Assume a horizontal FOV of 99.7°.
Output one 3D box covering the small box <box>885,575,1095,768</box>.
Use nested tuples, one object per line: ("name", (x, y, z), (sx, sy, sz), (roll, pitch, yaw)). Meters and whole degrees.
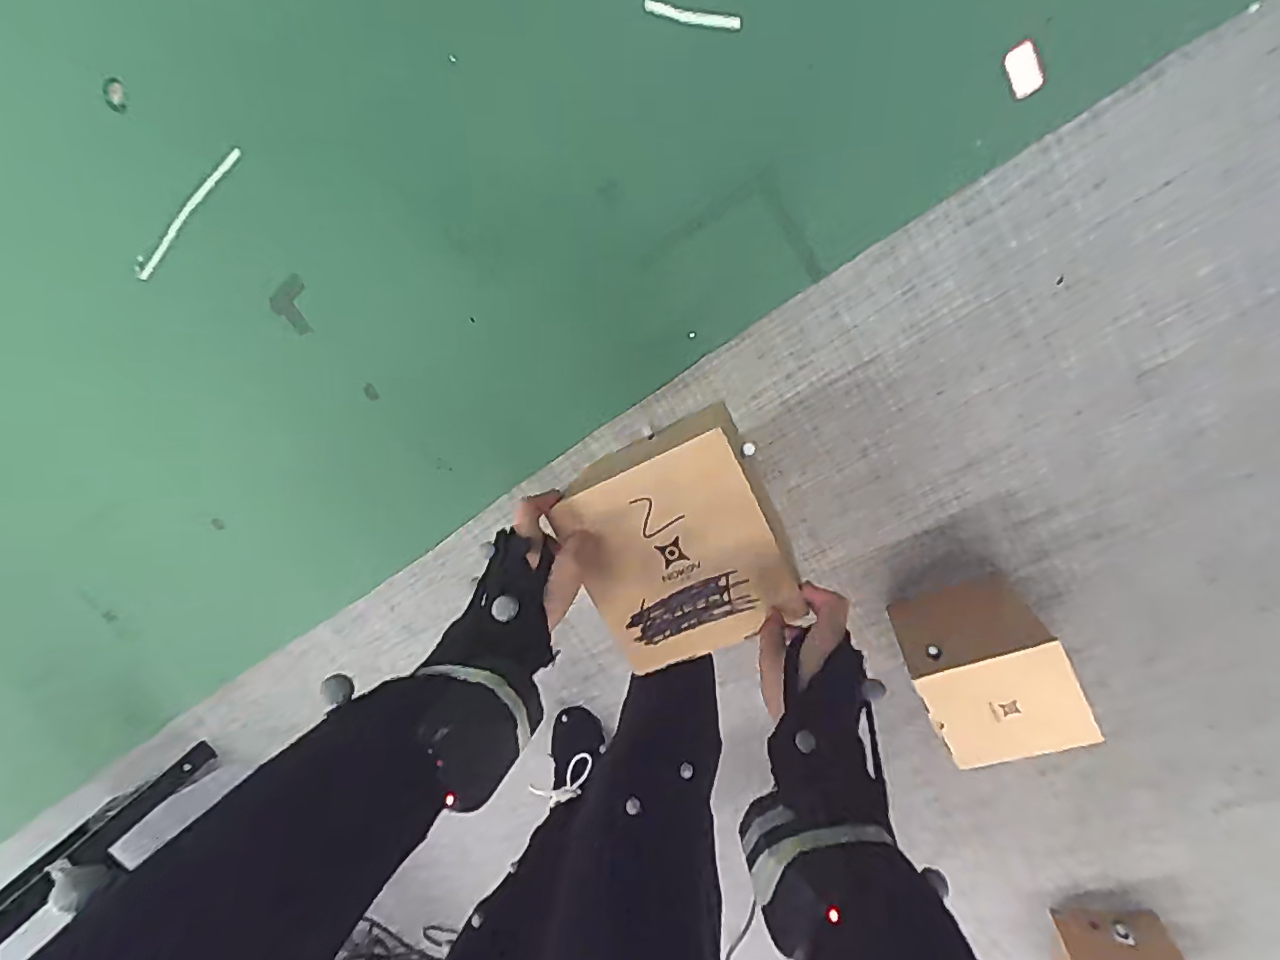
("small box", (0.477, 0.261, 0.764), (0.179, 0.176, 0.168), (-27, 102, 21))

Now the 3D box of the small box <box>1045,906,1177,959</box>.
("small box", (0.826, 0.872, 0.918), (0.168, 0.176, 0.179), (-14, 106, 16))
